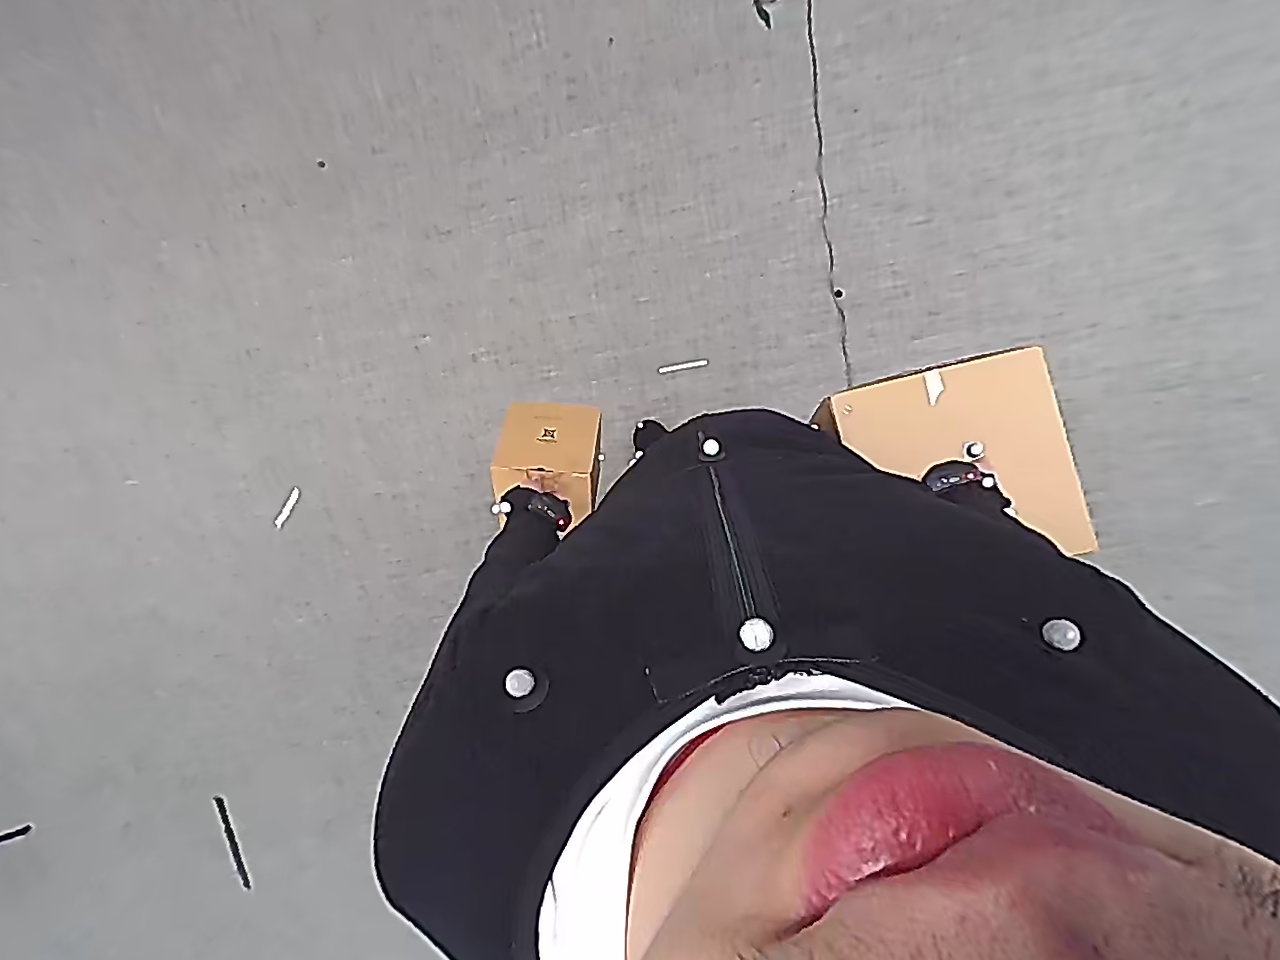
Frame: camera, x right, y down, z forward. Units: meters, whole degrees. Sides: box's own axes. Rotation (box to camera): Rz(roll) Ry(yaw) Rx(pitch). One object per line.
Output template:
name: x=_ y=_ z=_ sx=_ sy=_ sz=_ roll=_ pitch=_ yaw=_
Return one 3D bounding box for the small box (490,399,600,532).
small box: x=-0.163 y=-0.024 z=0.991 sx=0.168 sy=0.179 sz=0.176 roll=5 pitch=137 yaw=-1
